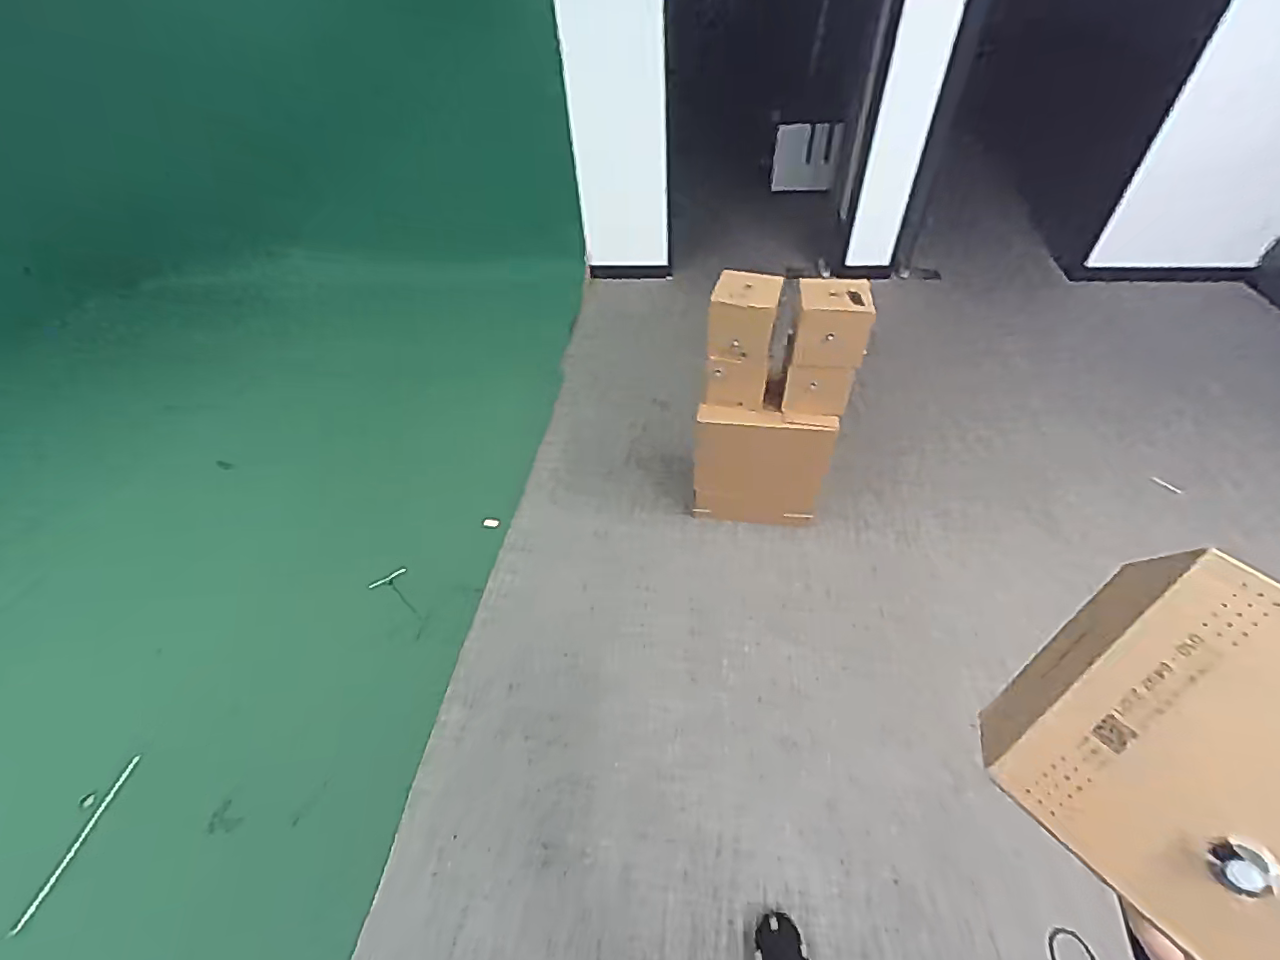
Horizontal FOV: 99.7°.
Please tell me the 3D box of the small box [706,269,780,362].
[{"bbox_3d":[0.278,-0.452,1.481,0.168,0.176,0.179,12,50,14],"label":"small box"}]
